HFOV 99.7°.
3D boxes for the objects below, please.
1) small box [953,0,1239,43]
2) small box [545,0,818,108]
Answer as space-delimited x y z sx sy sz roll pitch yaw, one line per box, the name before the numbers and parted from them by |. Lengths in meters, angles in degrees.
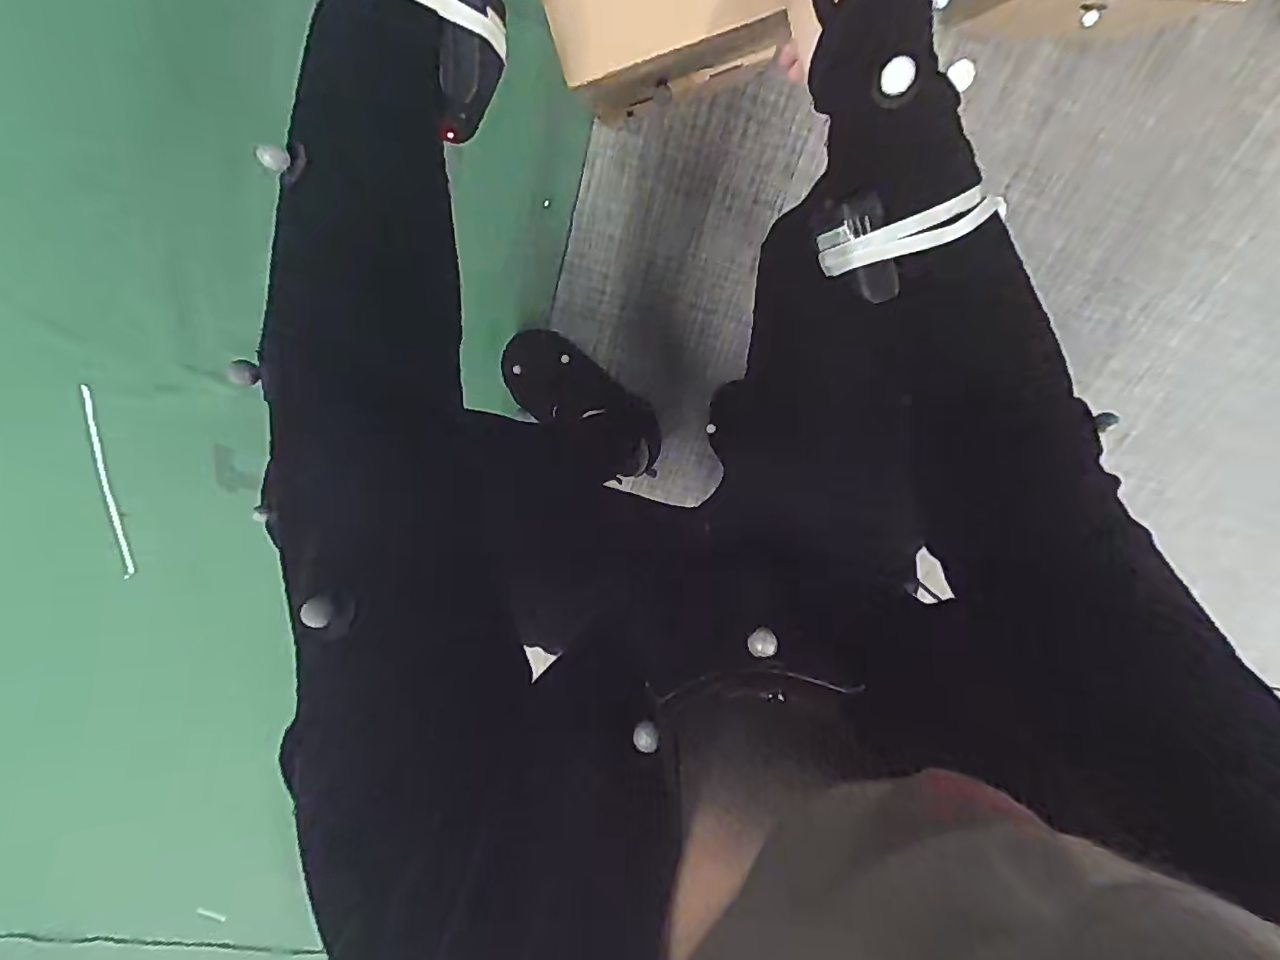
small box | 0.419 -0.509 0.477 0.179 0.176 0.168 3 120 -2
small box | 0.010 -0.384 0.367 0.168 0.176 0.179 -13 119 8
